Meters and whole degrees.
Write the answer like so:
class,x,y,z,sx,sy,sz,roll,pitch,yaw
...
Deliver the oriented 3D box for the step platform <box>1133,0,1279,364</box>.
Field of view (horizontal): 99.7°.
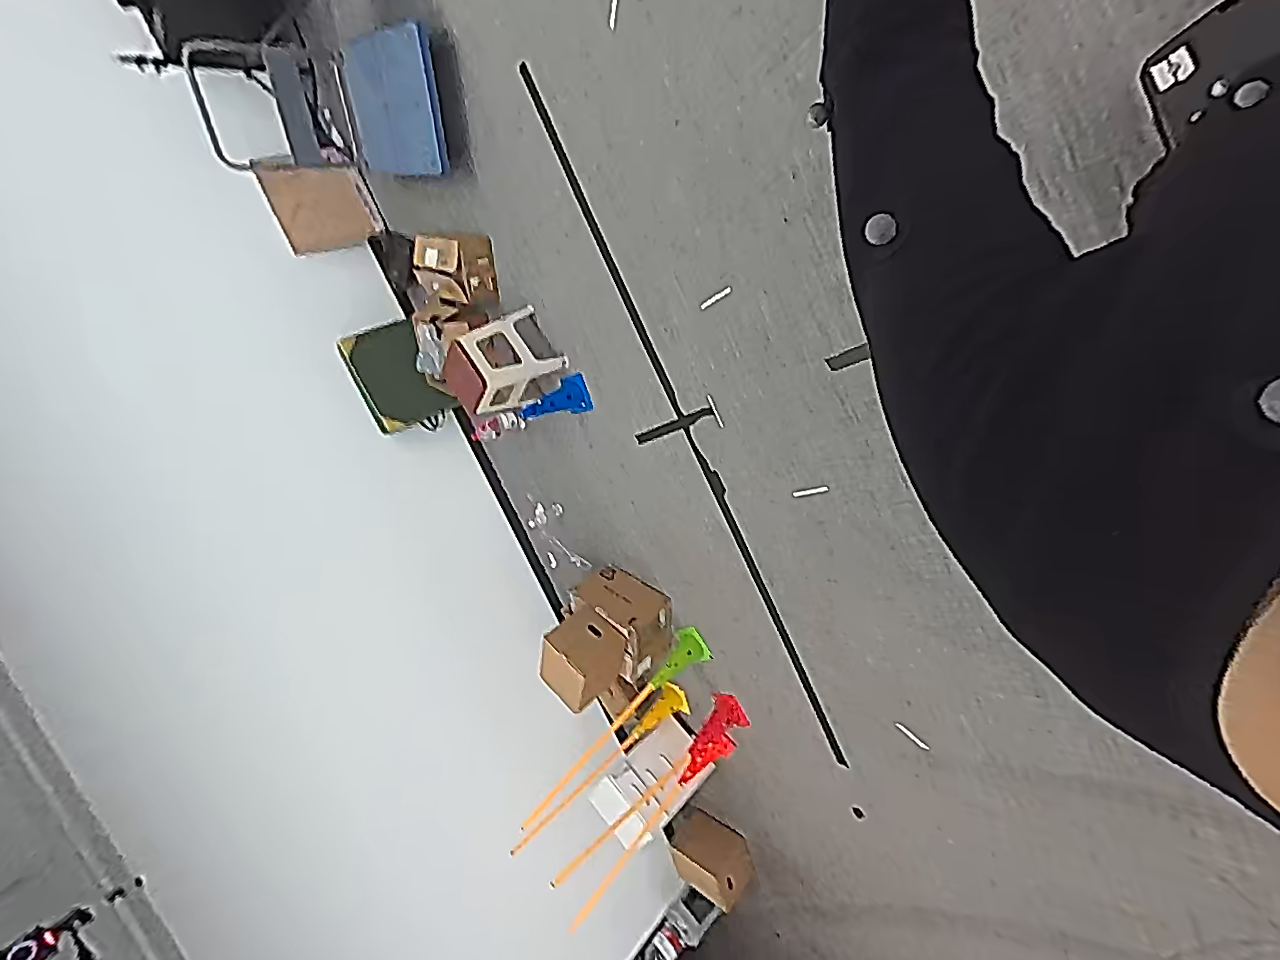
class,x,y,z,sx,sy,sz,roll,pitch,yaw
step platform,1.153,-0.553,0.939,0.286,0.204,0.684,-21,95,52
